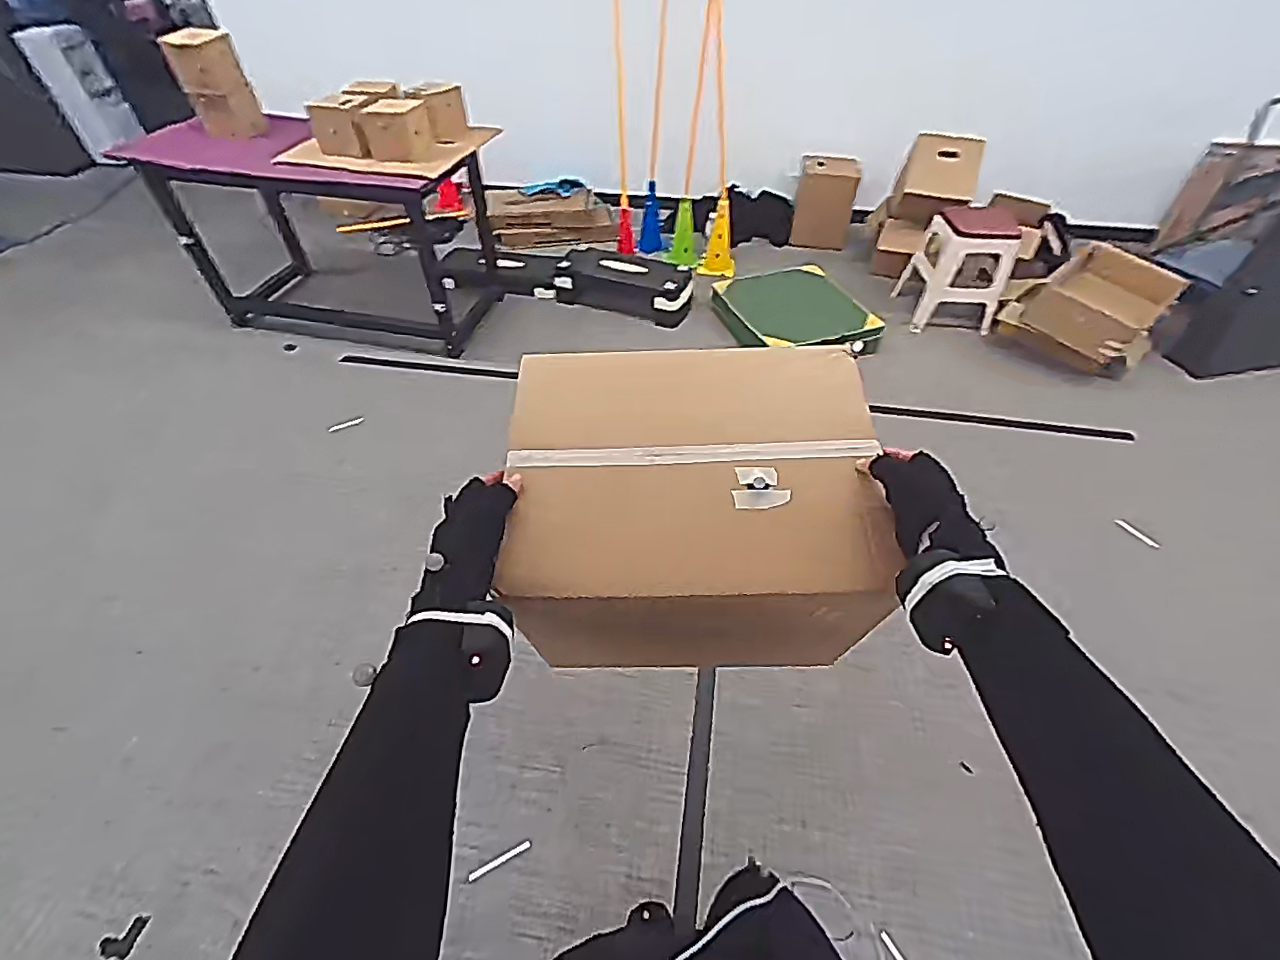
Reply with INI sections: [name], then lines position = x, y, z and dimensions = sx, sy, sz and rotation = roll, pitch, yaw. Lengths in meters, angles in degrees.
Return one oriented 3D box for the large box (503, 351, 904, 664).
[large box]
position = 0.061, 0.053, 0.731
dimensions = 0.408, 0.320, 0.320
rotation = -2, 60, 1
